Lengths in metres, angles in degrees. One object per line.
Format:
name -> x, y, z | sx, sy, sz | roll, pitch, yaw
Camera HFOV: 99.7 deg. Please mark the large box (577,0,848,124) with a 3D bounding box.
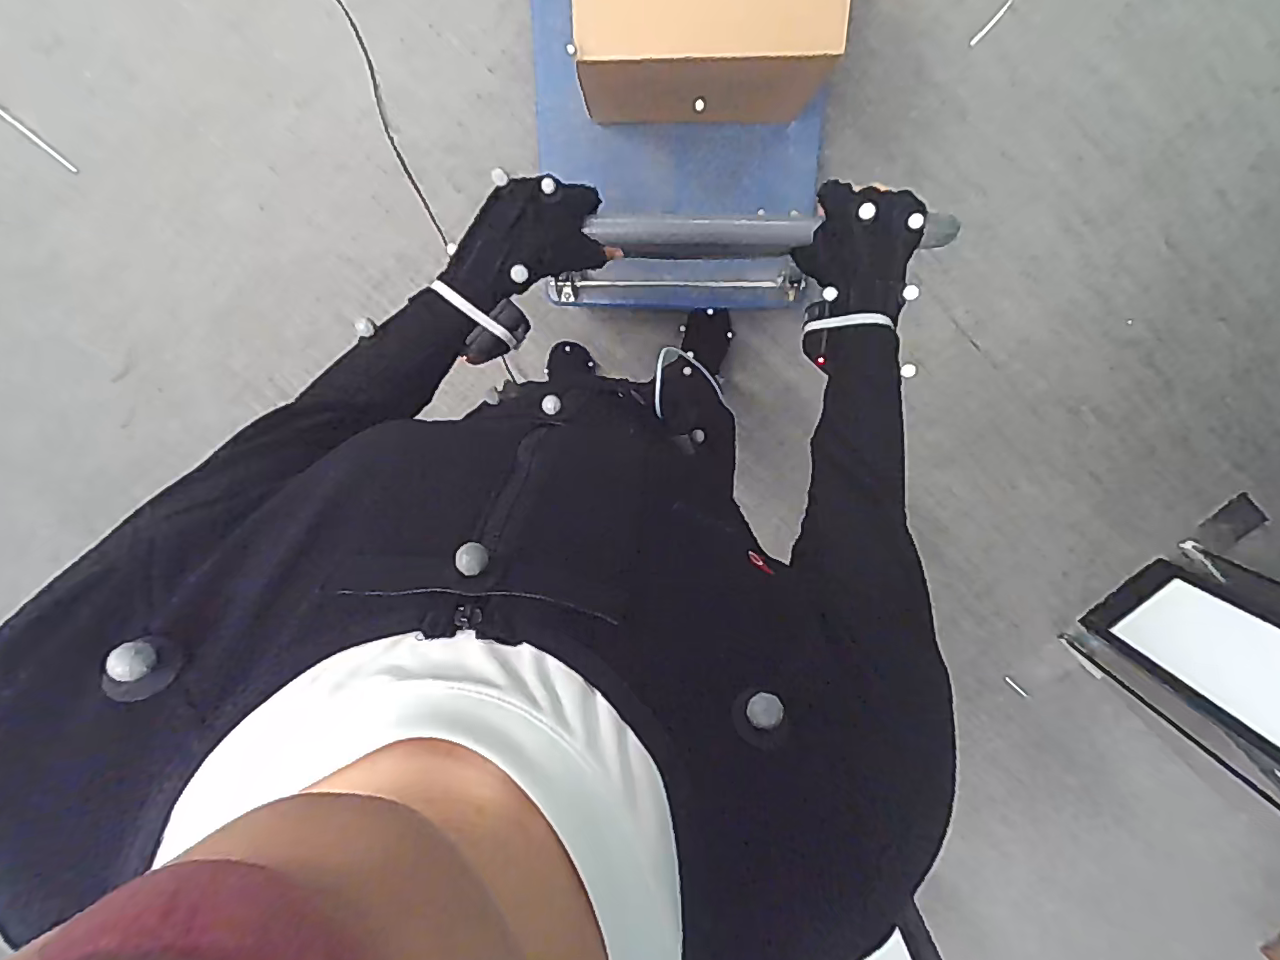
large box -> 0.107, -0.824, 0.909 | 0.408, 0.320, 0.320 | -1, 108, 1
